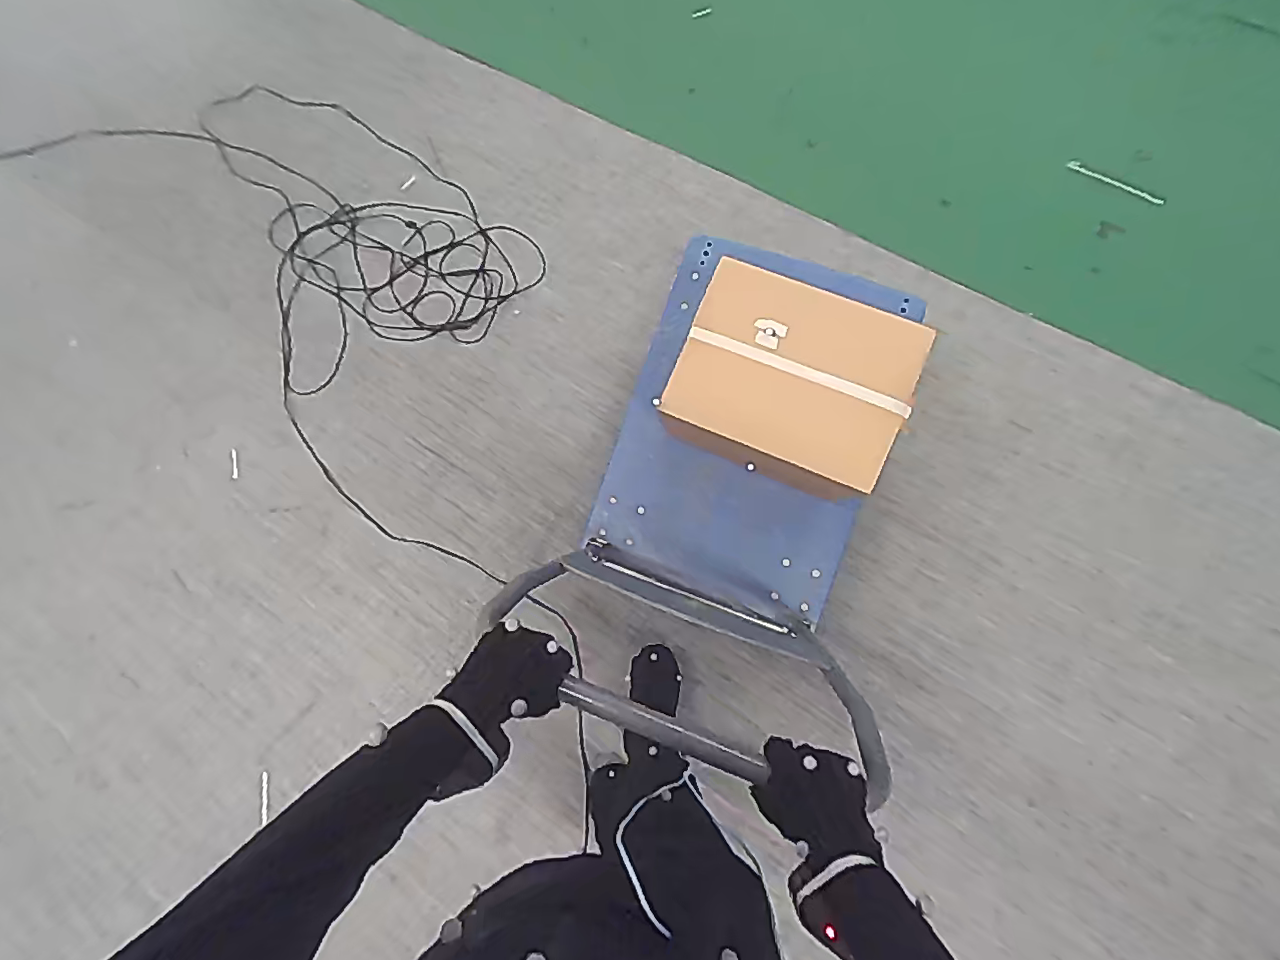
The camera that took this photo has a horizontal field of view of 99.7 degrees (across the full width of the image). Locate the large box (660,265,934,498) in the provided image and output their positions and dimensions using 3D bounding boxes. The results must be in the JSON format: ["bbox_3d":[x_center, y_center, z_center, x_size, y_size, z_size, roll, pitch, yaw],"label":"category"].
[{"bbox_3d":[0.296,-0.175,1.106,0.408,0.320,0.320,22,88,9],"label":"large box"}]
